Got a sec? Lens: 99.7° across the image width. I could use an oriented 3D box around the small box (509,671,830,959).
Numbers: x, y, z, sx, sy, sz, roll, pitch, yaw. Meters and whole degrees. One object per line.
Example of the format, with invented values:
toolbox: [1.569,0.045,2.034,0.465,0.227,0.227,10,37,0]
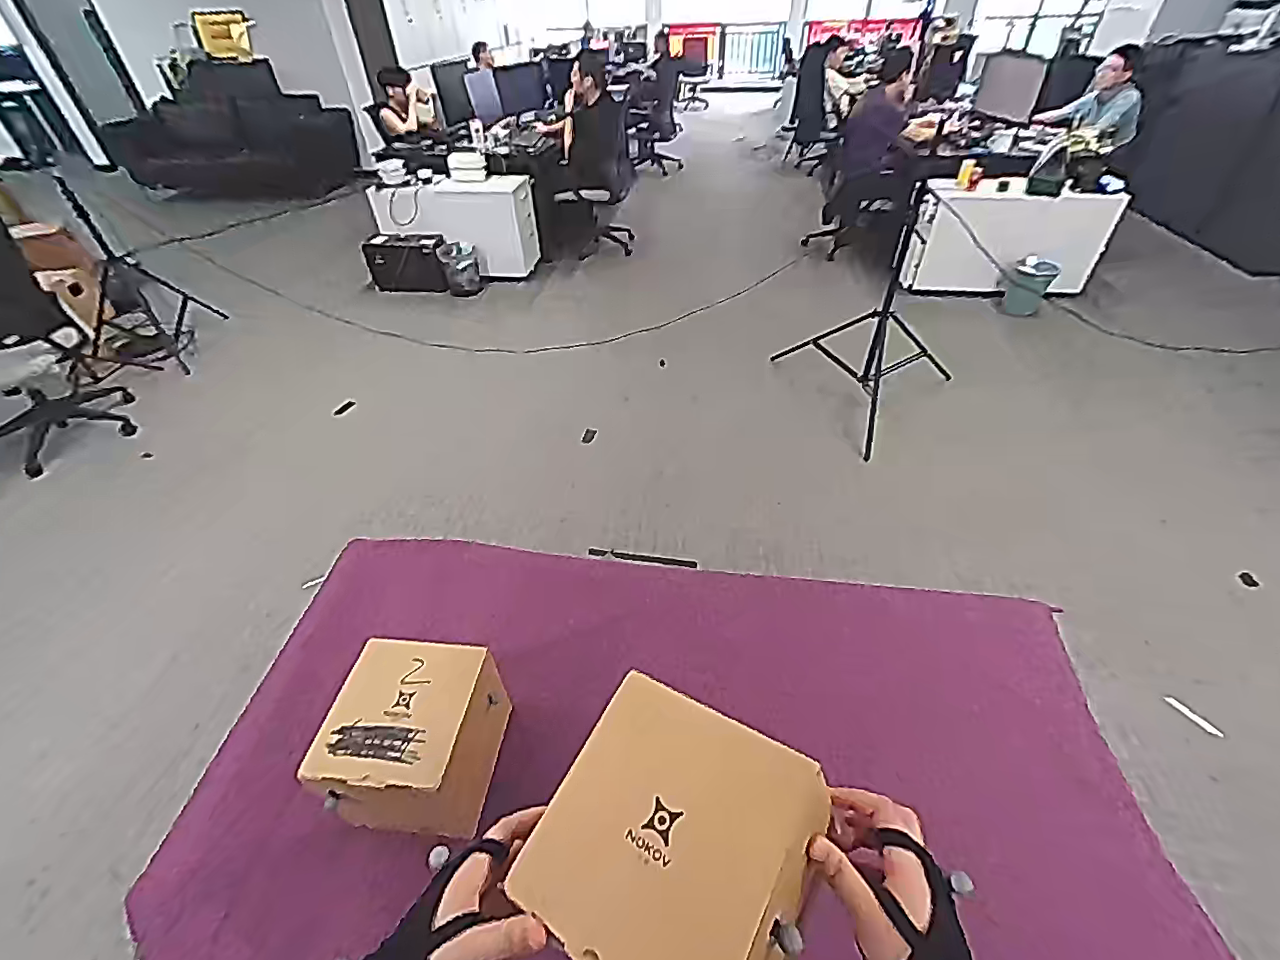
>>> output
small box: [0.040,0.290,0.422,0.168,0.176,0.179,13,54,35]
